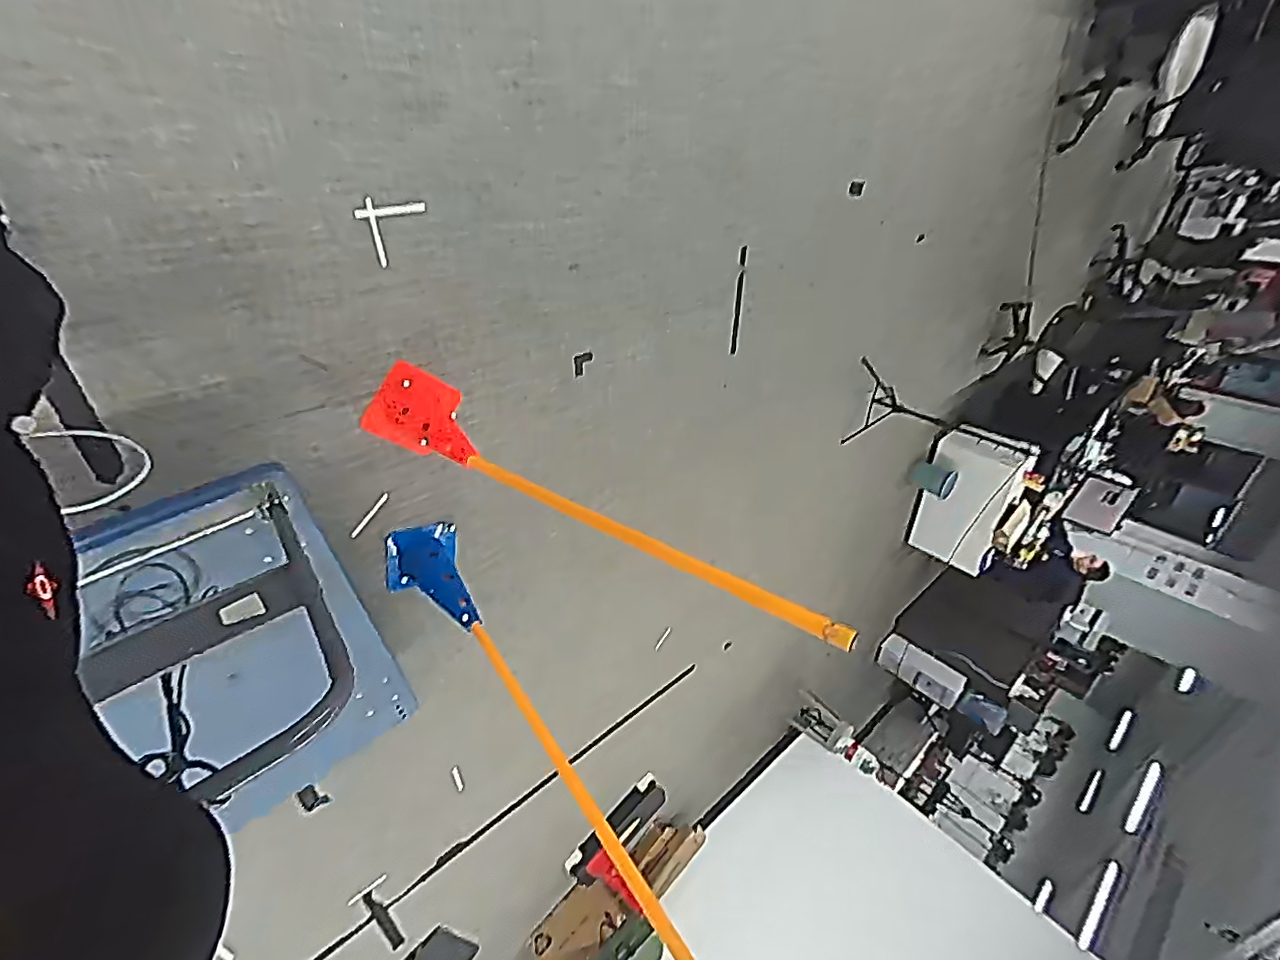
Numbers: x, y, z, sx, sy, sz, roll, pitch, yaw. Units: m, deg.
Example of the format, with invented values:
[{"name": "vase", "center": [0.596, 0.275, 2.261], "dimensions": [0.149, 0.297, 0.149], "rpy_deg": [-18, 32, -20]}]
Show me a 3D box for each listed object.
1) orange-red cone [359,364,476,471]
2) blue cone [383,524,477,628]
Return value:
[{"name": "orange-red cone", "center": [-0.474, -0.105, 1.265], "dimensions": [0.199, 0.360, 0.198], "rpy_deg": [-57, 139, 0]}, {"name": "blue cone", "center": [-0.541, 0.288, 1.461], "dimensions": [0.193, 0.380, 0.192], "rpy_deg": [-9, 119, -42]}]
